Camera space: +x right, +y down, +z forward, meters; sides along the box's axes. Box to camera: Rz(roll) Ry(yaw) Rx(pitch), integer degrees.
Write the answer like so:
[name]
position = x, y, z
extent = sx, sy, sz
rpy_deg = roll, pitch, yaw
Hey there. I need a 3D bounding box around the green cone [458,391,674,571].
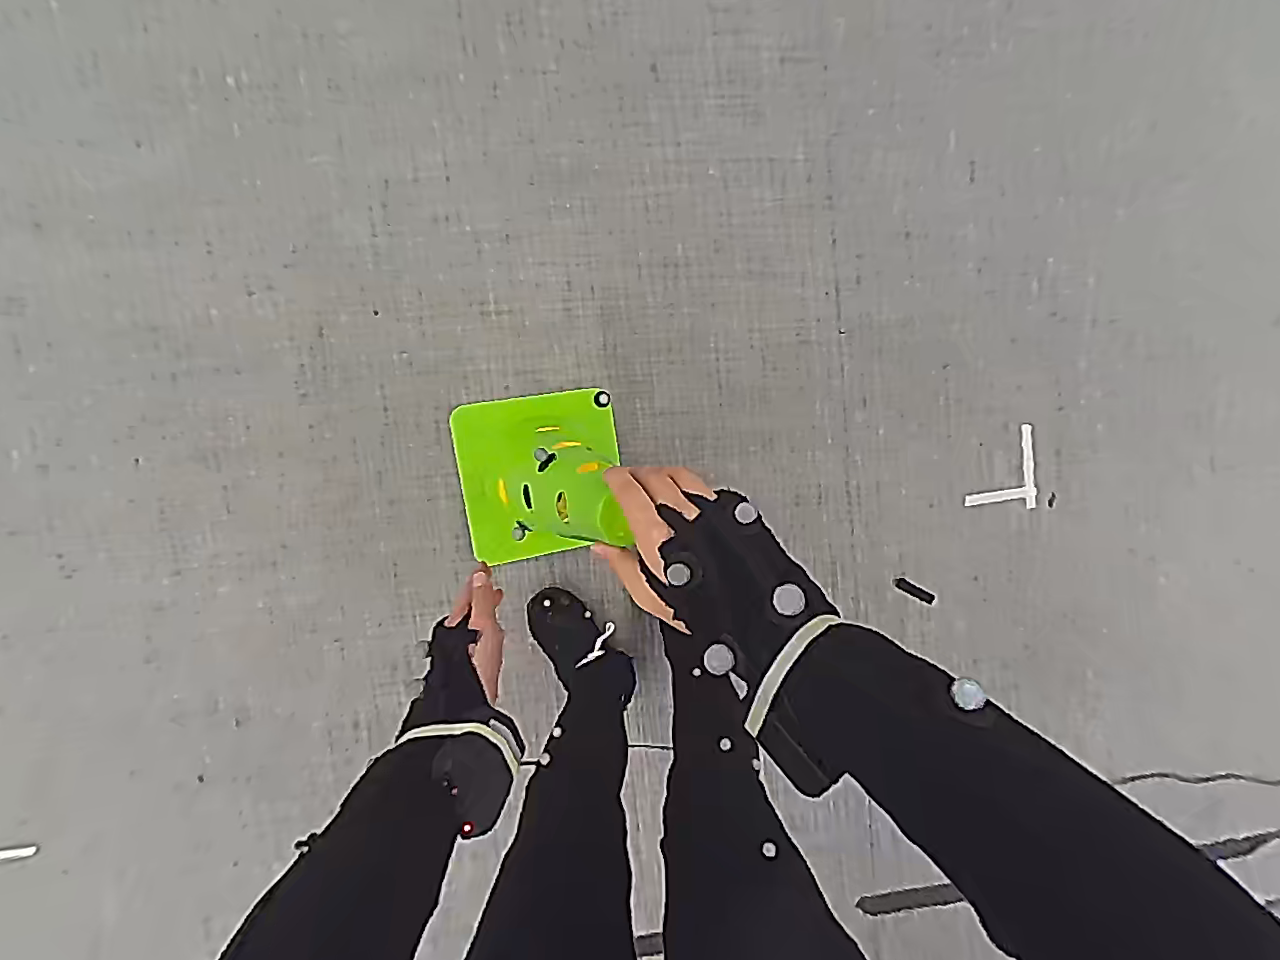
[green cone]
position = -0.057, 0.015, 0.507
extent = 0.200, 0.368, 0.202
rpy_deg = -11, 99, -17
